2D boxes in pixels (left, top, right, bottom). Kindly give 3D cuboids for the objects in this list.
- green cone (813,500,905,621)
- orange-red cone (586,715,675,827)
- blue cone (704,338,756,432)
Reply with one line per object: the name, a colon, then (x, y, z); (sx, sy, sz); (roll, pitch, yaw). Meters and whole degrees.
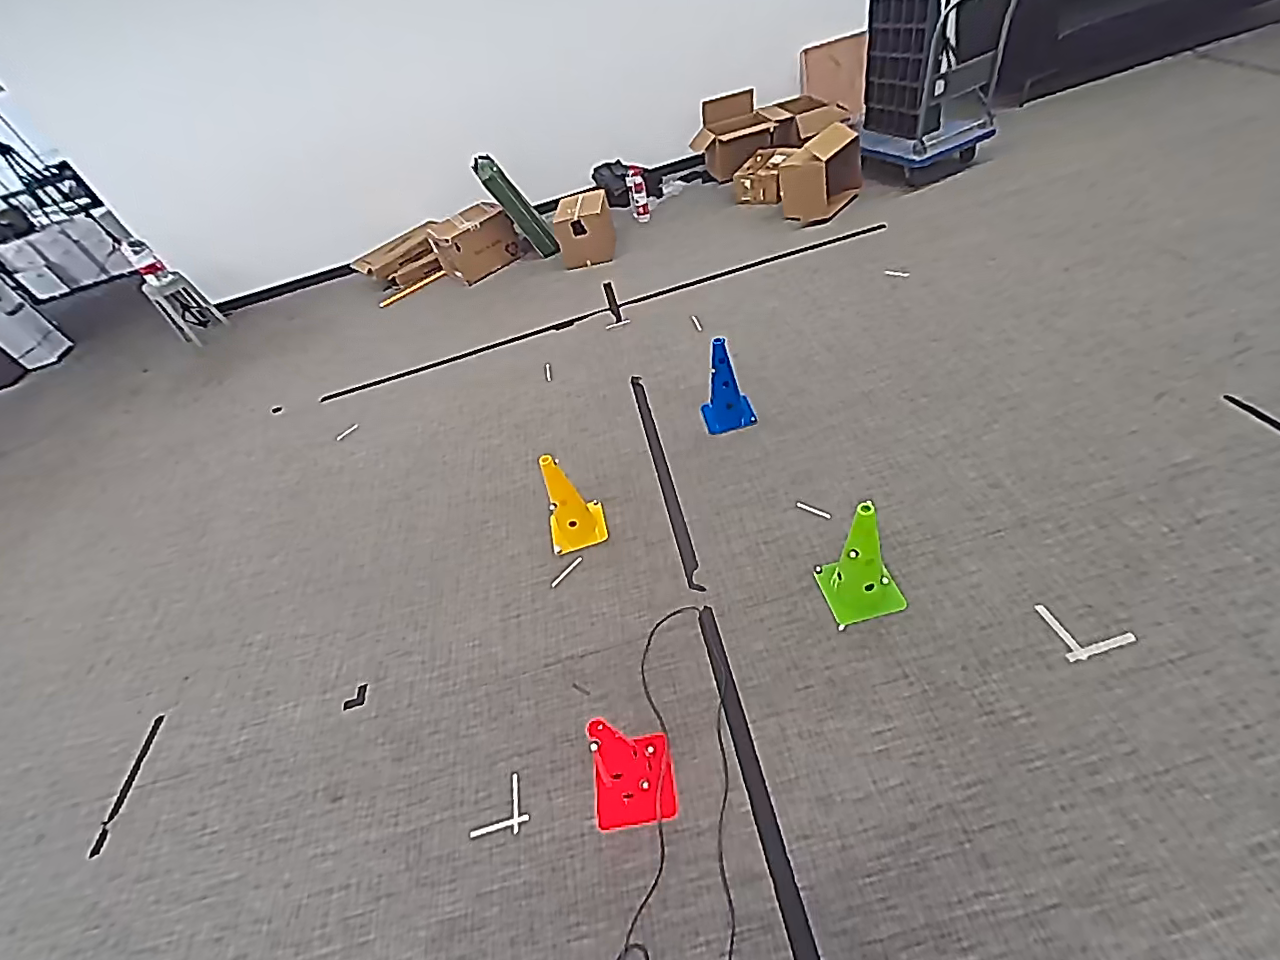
green cone: (0.595, 0.190, 1.450); (0.202, 0.368, 0.200); (-15, 44, 1)
orange-red cone: (-0.057, 0.627, 1.233); (0.199, 0.360, 0.198); (-14, 43, 6)
blue cone: (0.334, -0.384, 2.119); (0.192, 0.380, 0.193); (-13, 45, 4)
